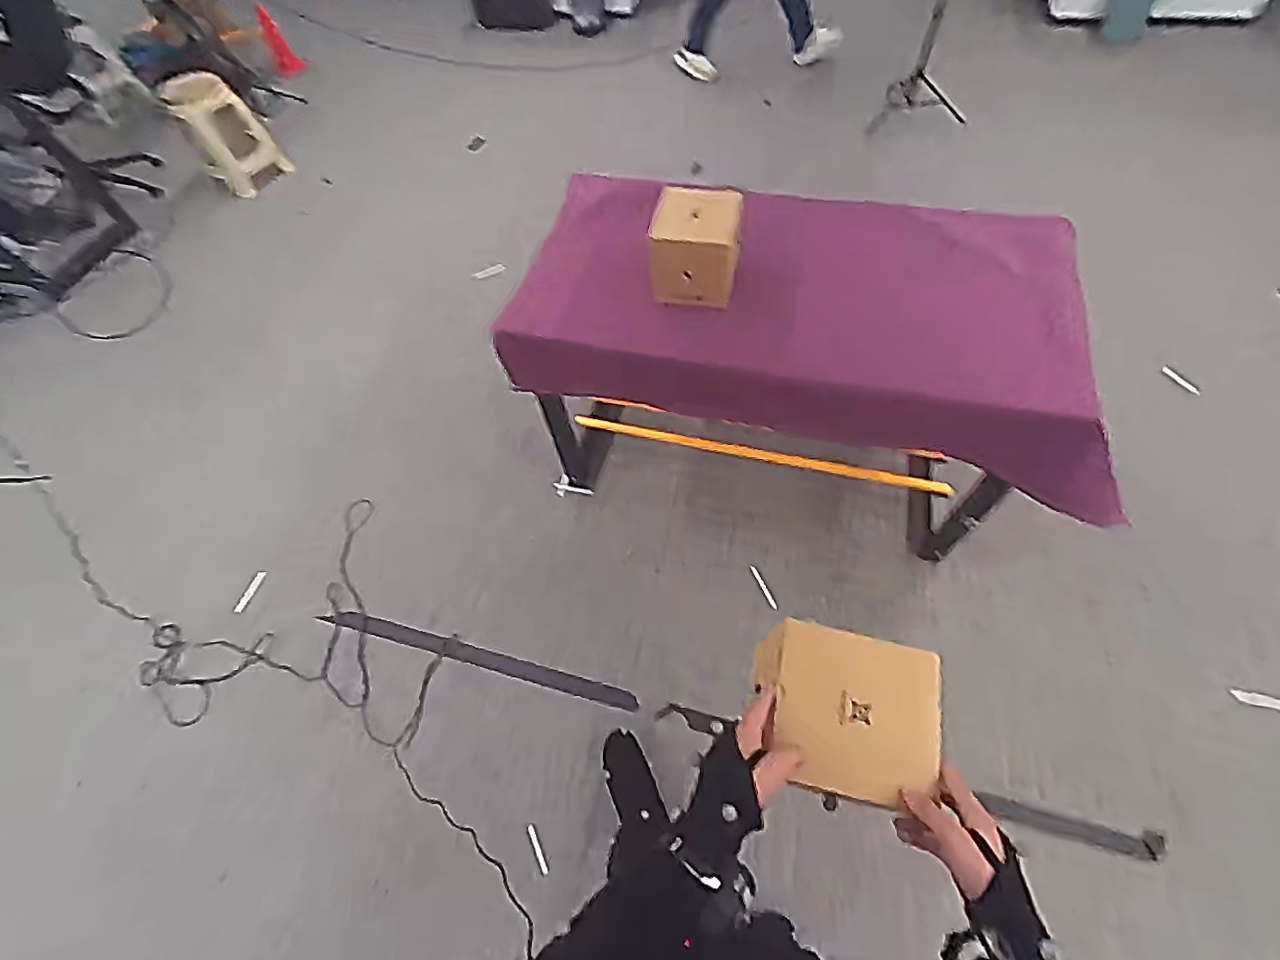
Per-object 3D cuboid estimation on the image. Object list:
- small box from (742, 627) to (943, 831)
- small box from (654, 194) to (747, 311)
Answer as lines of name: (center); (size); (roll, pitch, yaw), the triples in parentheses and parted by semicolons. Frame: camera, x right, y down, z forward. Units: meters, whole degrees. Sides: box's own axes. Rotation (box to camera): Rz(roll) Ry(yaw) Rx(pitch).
small box: (0.230, 0.290, 0.641); (0.179, 0.176, 0.168); (11, 63, 7)
small box: (0.134, -0.494, 1.185); (0.168, 0.176, 0.179); (10, 60, 11)
